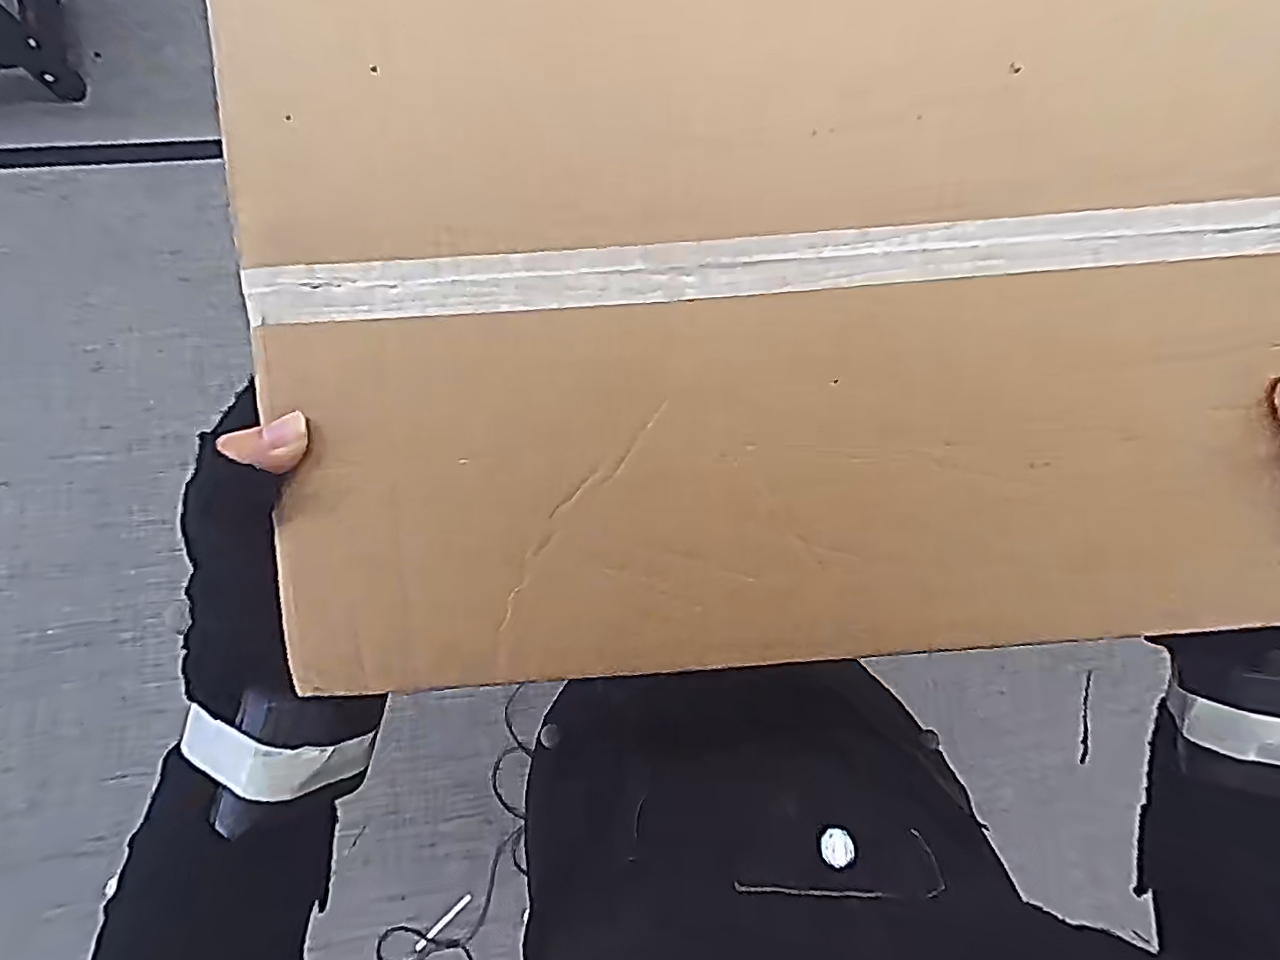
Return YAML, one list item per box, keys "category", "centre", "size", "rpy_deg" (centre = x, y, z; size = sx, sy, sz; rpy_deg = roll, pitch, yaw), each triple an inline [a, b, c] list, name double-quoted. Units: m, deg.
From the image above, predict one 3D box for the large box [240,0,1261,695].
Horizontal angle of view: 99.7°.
- category: "large box"
  centre: [0.052, -0.088, 0.369]
  size: [0.408, 0.320, 0.320]
  rpy_deg: [-4, 93, -1]
